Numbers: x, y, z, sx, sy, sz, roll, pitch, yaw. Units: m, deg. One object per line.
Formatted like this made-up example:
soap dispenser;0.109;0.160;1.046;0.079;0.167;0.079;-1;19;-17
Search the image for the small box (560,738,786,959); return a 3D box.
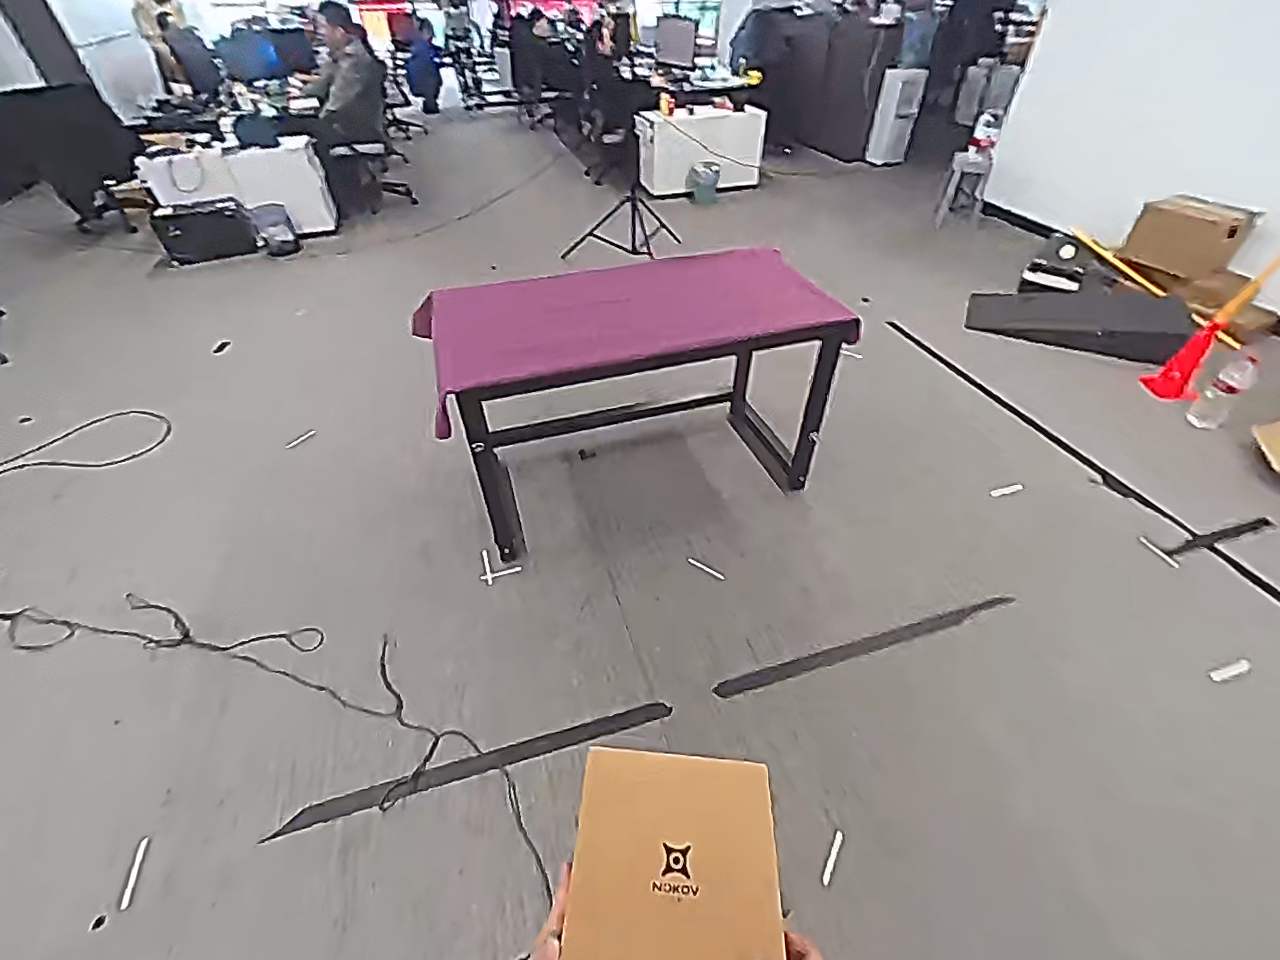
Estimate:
small box;0.022;0.362;0.485;0.168;0.176;0.179;6;42;0
